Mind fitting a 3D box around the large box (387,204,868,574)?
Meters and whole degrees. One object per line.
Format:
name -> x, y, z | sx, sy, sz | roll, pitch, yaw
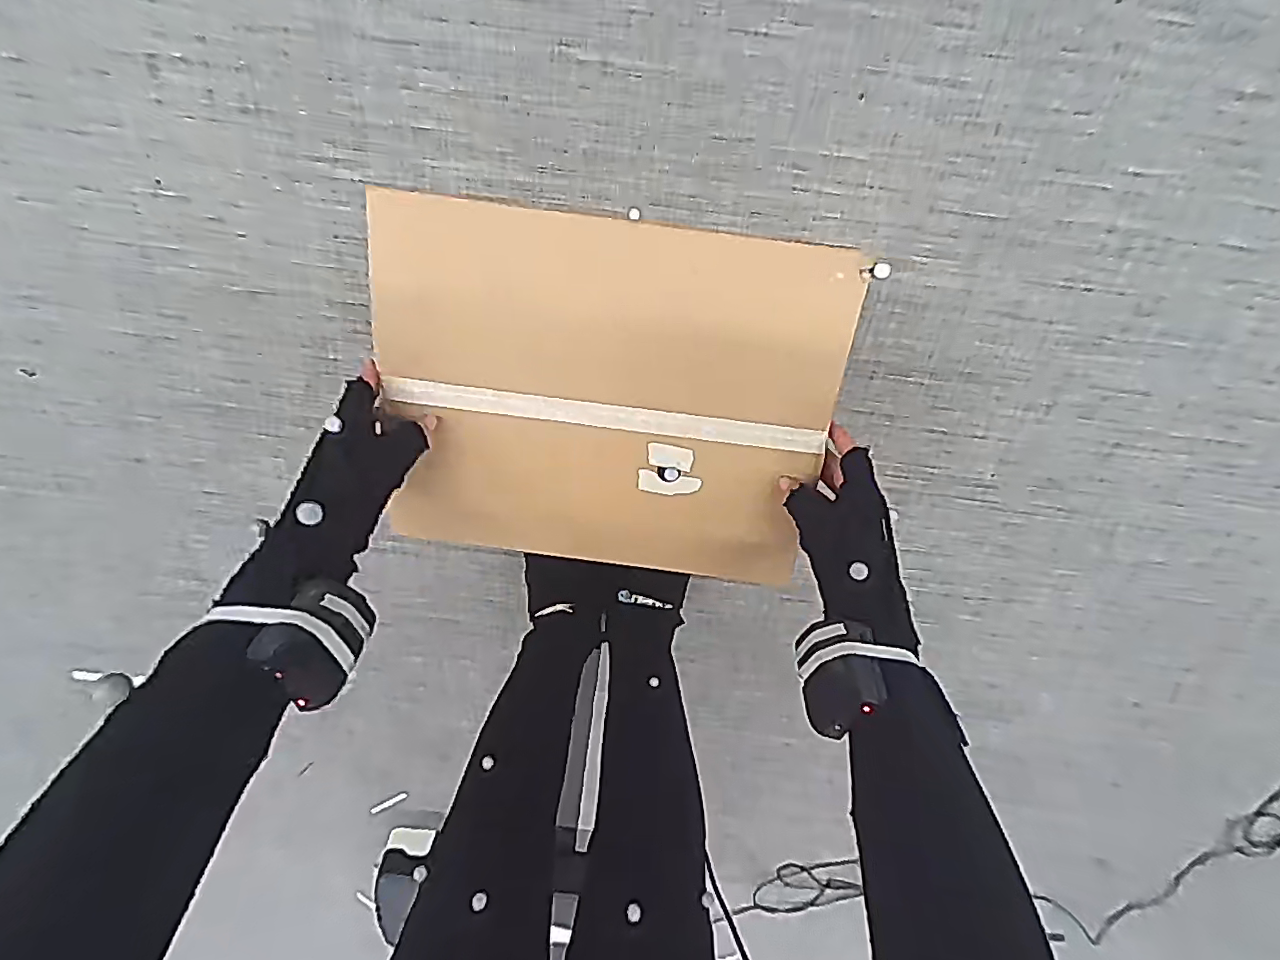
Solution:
large box -> -0.021, -0.120, 0.634 | 0.408, 0.320, 0.320 | 7, 114, -1
